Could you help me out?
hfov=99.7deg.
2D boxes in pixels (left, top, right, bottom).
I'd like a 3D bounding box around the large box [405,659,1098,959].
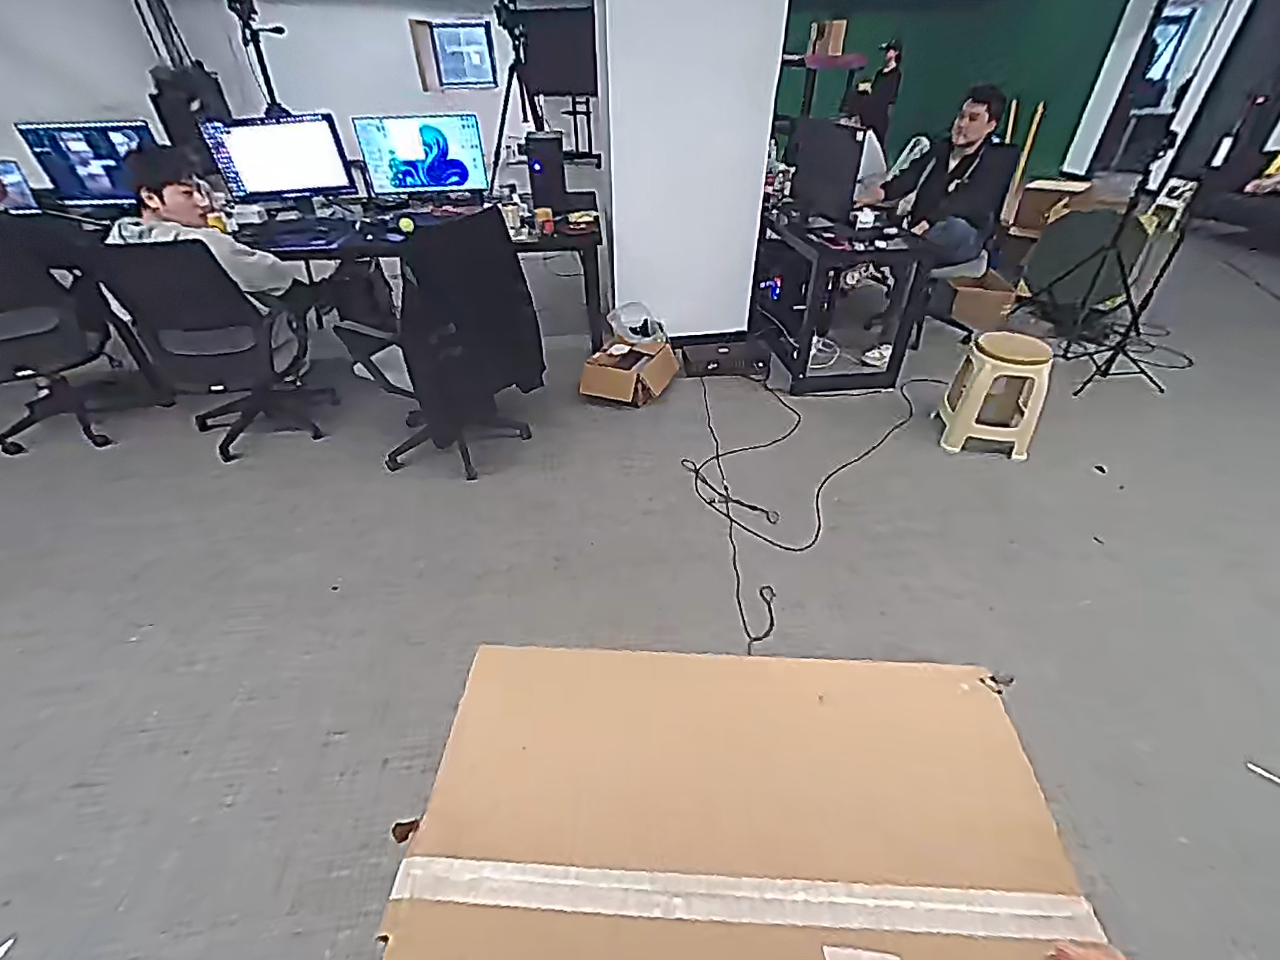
[{"bbox_3d":[0.064,0.363,0.432,0.408,0.320,0.320,1,45,2],"label":"large box"}]
